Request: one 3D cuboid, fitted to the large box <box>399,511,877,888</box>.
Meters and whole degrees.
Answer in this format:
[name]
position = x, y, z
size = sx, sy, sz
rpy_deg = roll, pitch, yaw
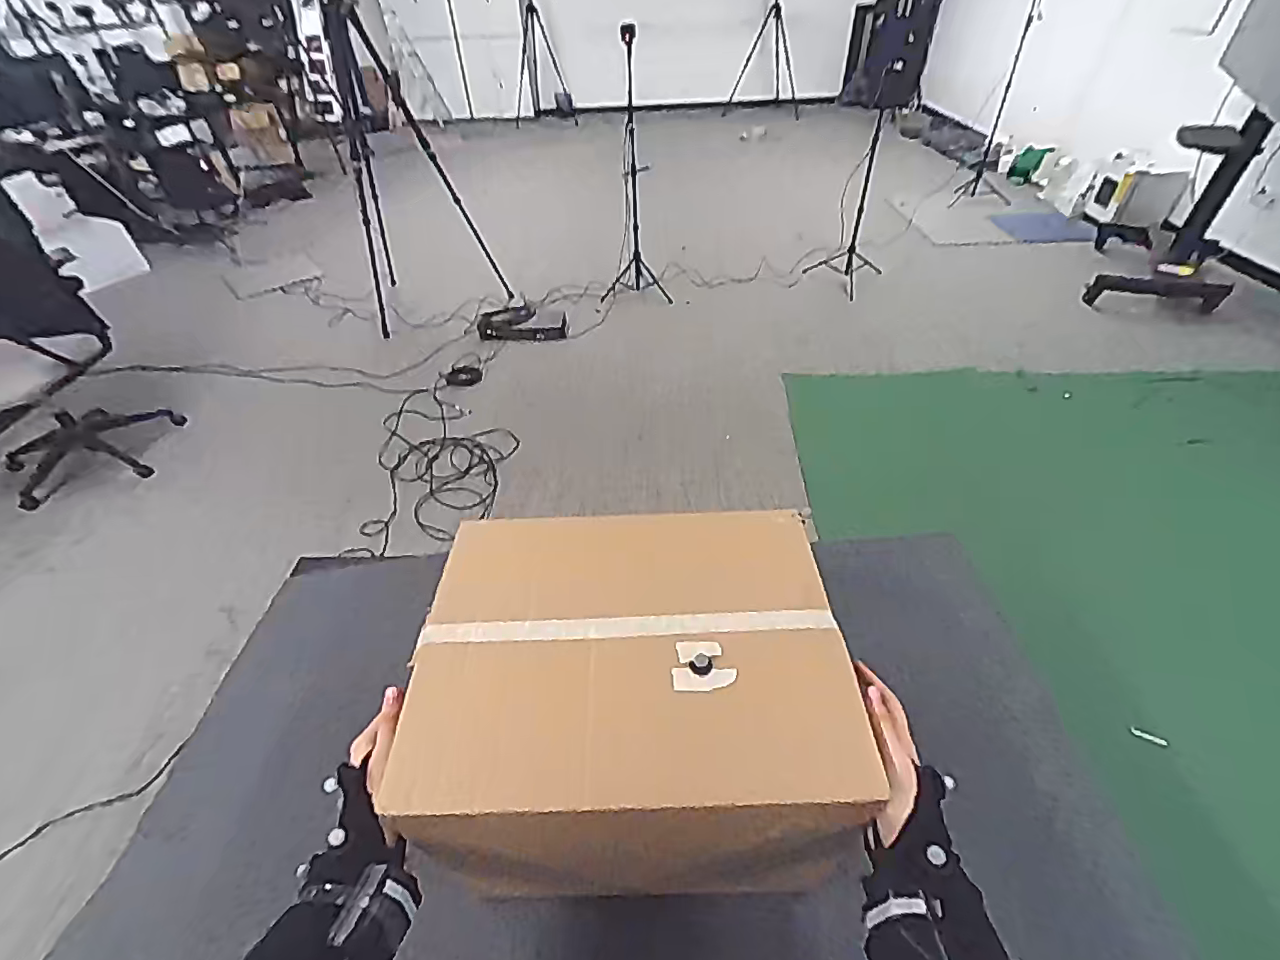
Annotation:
[large box]
position = -0.003, 0.260, 0.649
size = 0.408, 0.320, 0.320
rpy_deg = -2, 44, 0
